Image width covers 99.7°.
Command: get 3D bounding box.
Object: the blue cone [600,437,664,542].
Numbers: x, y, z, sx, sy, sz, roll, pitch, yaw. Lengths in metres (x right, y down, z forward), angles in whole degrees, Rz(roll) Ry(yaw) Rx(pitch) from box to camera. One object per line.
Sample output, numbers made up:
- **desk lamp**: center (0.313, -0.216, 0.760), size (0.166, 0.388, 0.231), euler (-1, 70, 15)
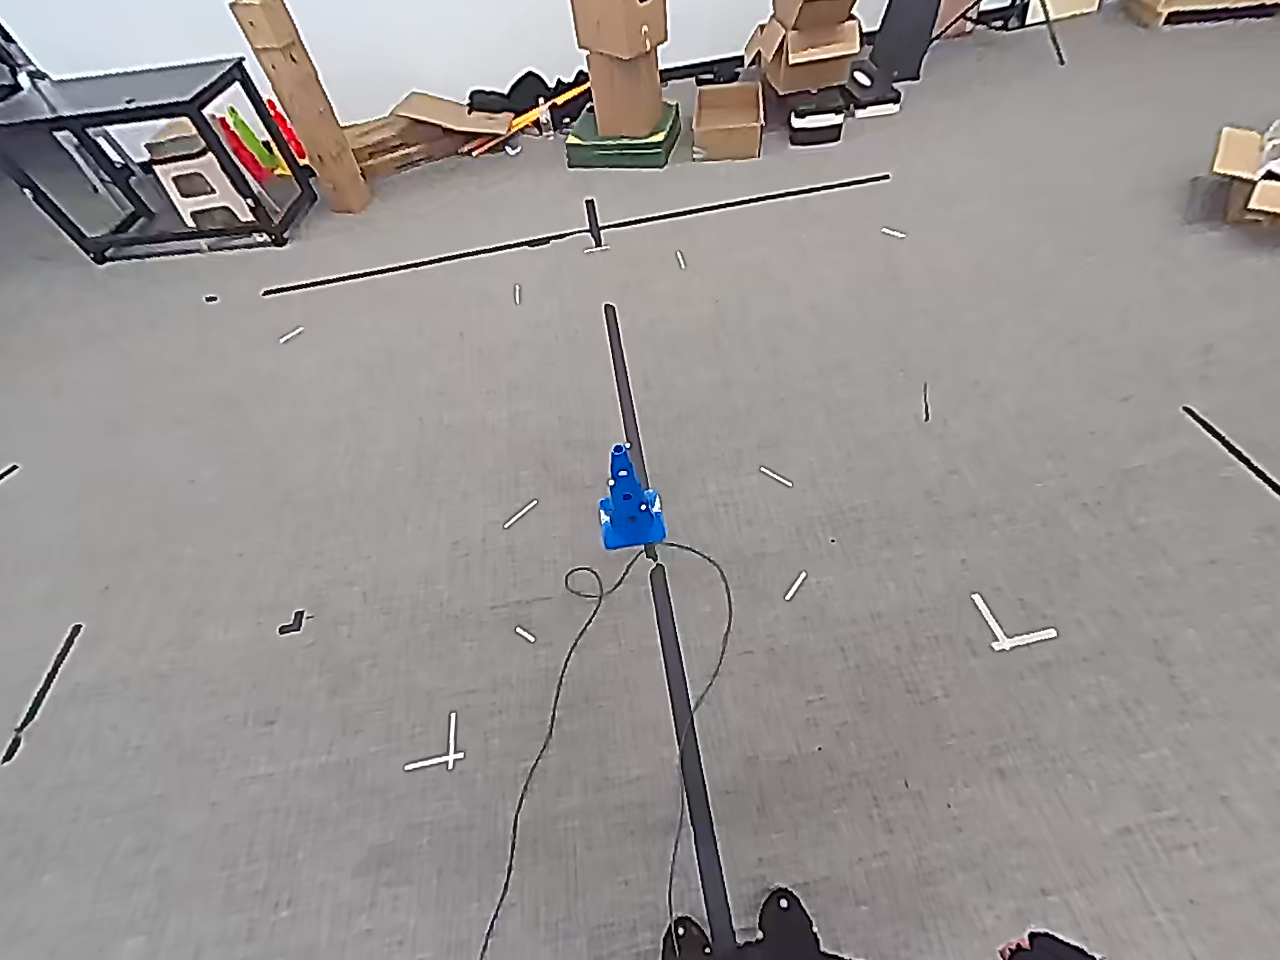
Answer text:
- **blue cone**: center (-0.043, 0.013, 1.596), size (0.193, 0.380, 0.192), euler (-12, 54, -1)
